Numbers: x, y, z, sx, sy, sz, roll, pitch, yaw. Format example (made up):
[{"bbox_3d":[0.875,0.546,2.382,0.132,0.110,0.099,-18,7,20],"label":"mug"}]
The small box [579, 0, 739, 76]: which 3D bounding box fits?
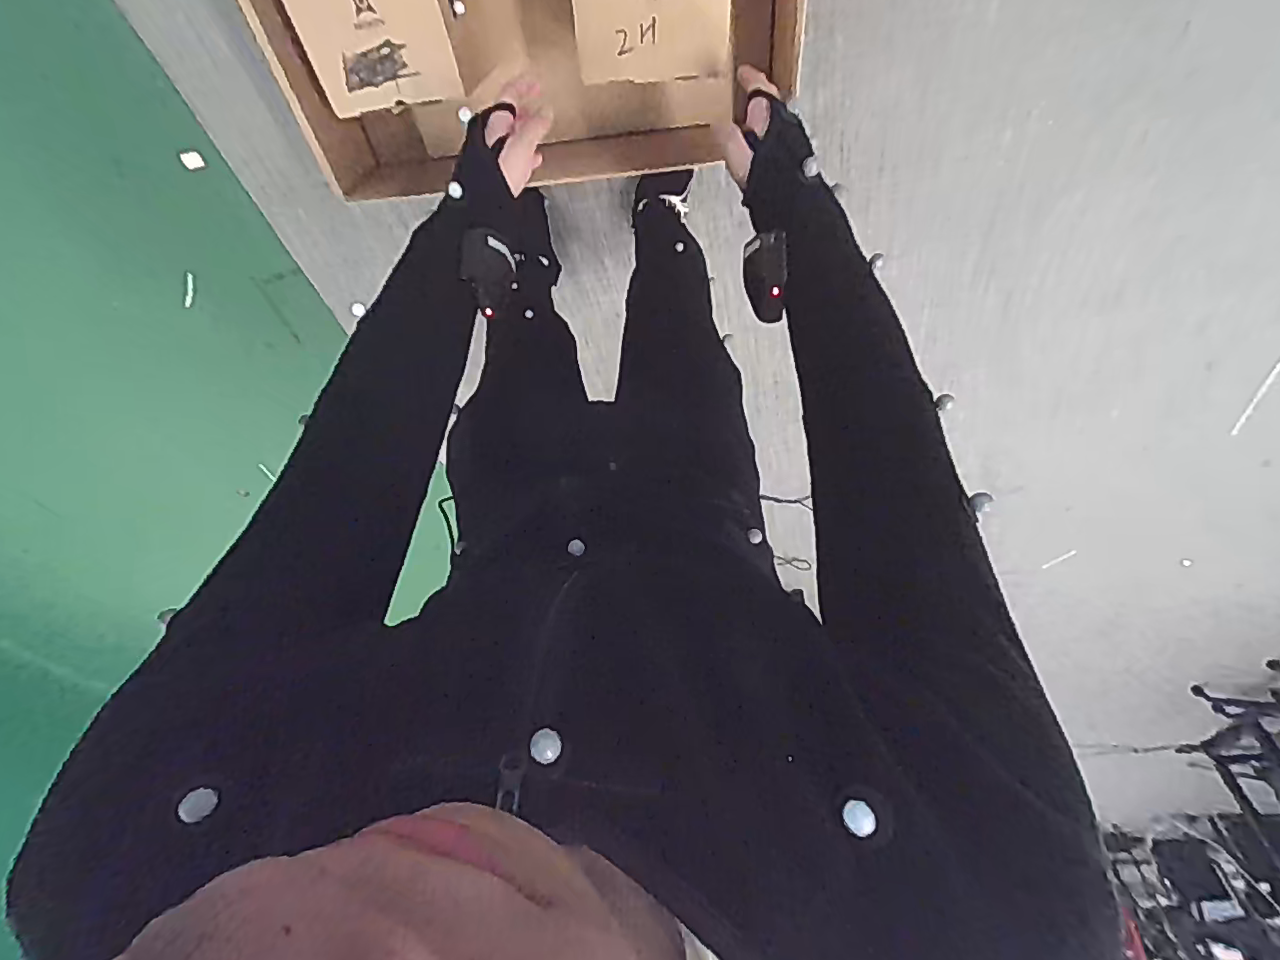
[{"bbox_3d":[0.020,-0.563,0.583,0.168,0.176,0.179,0,138,3],"label":"small box"}]
